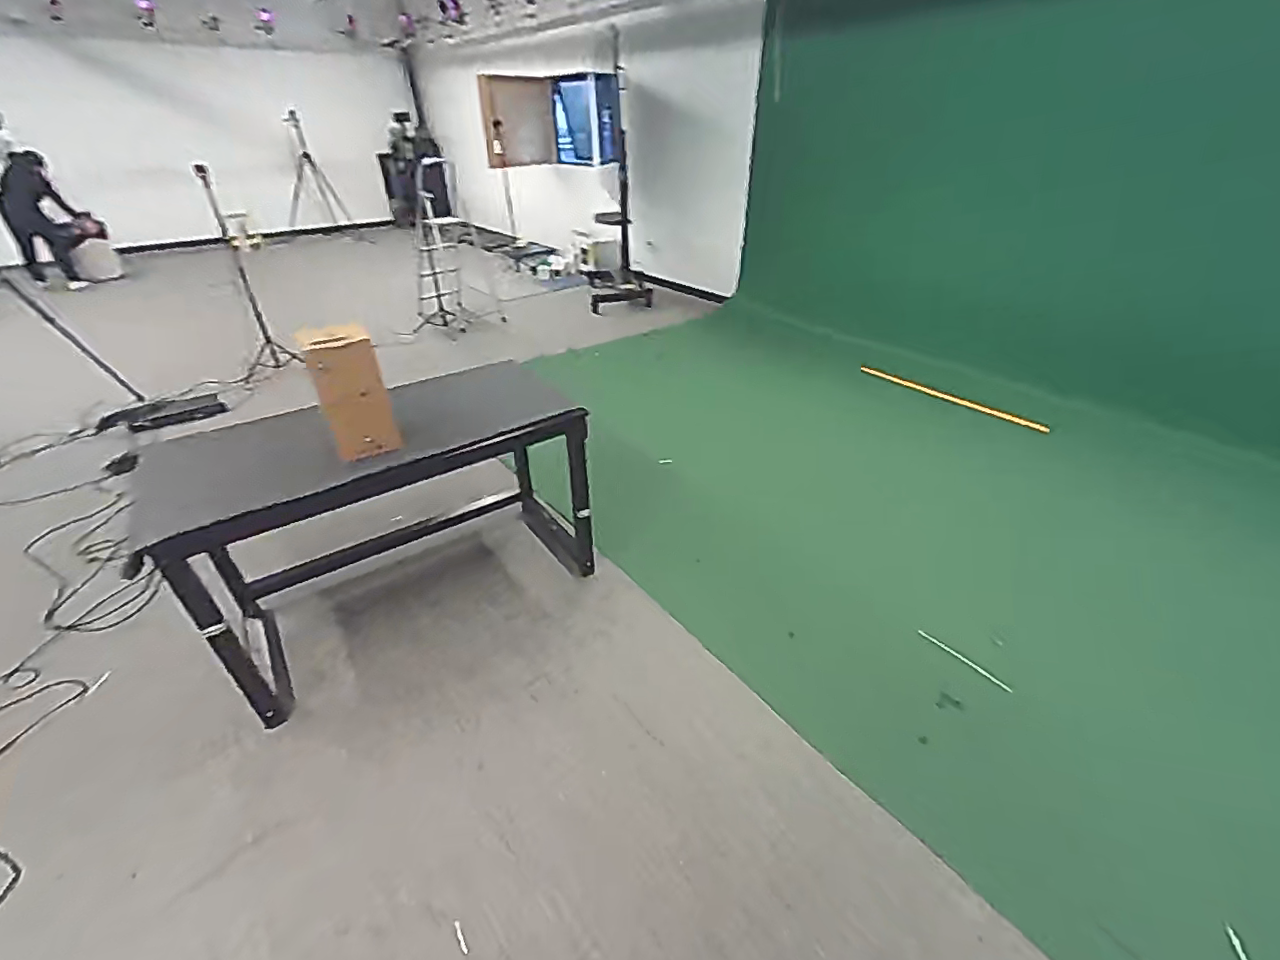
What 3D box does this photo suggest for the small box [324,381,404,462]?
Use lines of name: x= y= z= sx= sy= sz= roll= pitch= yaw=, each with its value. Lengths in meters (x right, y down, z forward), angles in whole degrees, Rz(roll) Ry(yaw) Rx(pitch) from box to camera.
small box: x=-0.813 y=-0.175 z=1.593 sx=0.168 sy=0.176 sz=0.179 roll=-19 pitch=37 yaw=-25
